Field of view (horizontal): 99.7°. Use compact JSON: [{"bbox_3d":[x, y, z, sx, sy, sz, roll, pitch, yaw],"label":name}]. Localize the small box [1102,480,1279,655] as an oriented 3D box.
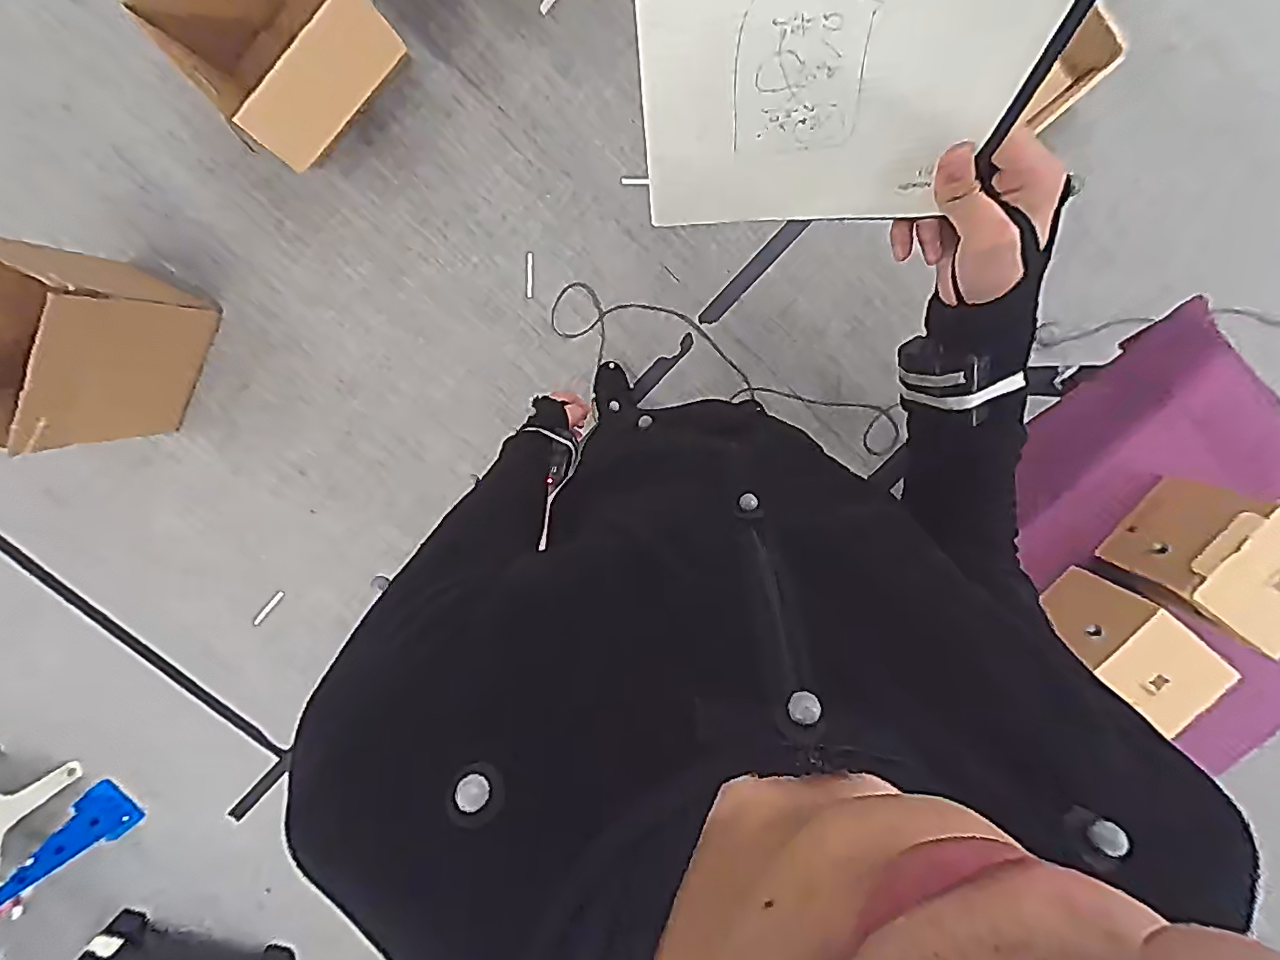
[{"bbox_3d":[0.861,0.116,0.804,0.179,0.176,0.168,34,102,-6],"label":"small box"}]
